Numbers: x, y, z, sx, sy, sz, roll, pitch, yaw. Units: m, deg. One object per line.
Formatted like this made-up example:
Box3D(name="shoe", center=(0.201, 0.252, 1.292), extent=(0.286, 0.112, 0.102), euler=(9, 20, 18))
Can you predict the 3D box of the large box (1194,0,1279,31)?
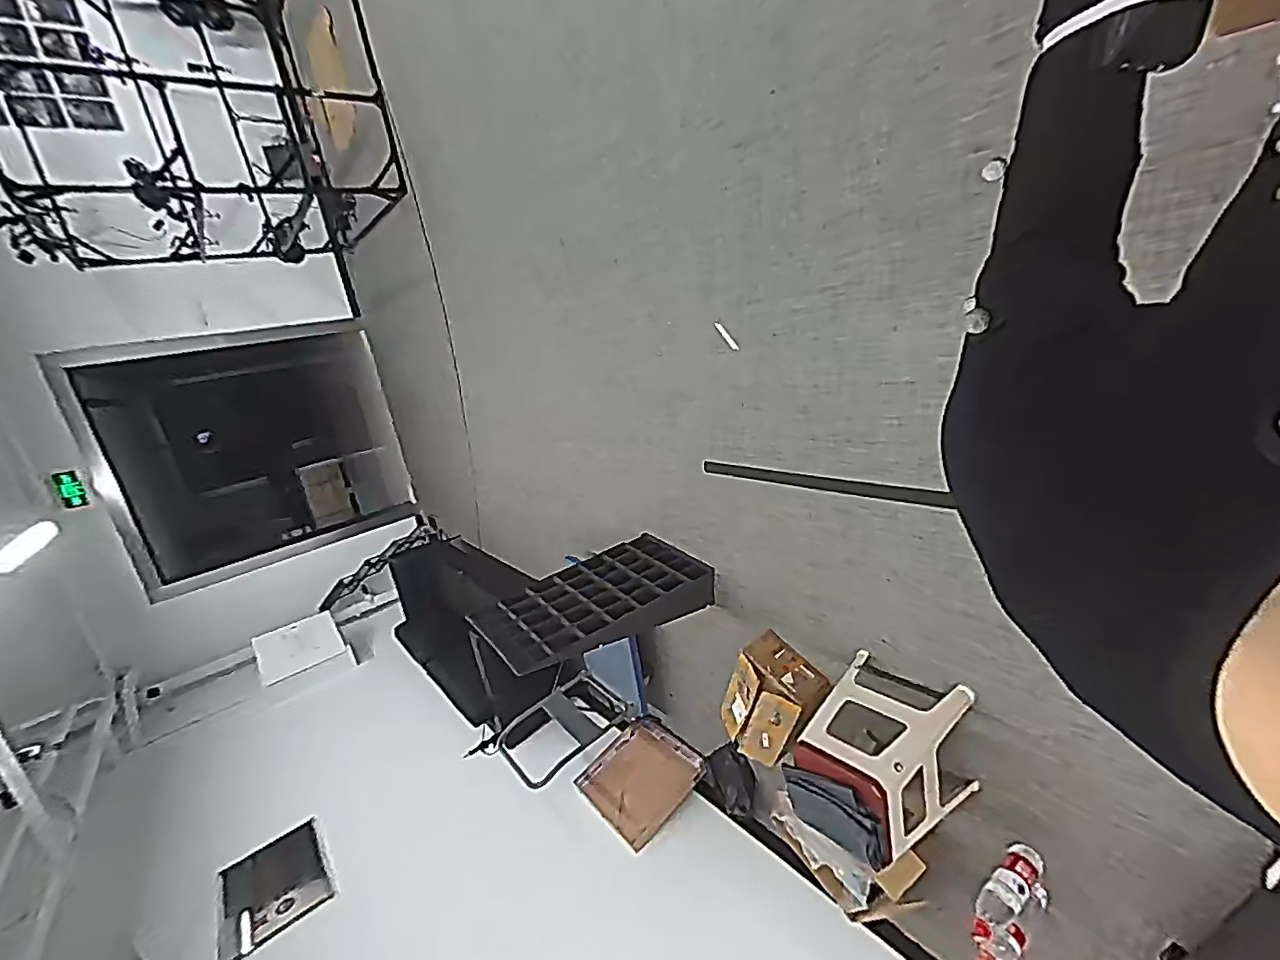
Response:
Box3D(name="large box", center=(0.554, -0.498, 0.247), extent=(0.408, 0.320, 0.320), euler=(12, 120, 47))
